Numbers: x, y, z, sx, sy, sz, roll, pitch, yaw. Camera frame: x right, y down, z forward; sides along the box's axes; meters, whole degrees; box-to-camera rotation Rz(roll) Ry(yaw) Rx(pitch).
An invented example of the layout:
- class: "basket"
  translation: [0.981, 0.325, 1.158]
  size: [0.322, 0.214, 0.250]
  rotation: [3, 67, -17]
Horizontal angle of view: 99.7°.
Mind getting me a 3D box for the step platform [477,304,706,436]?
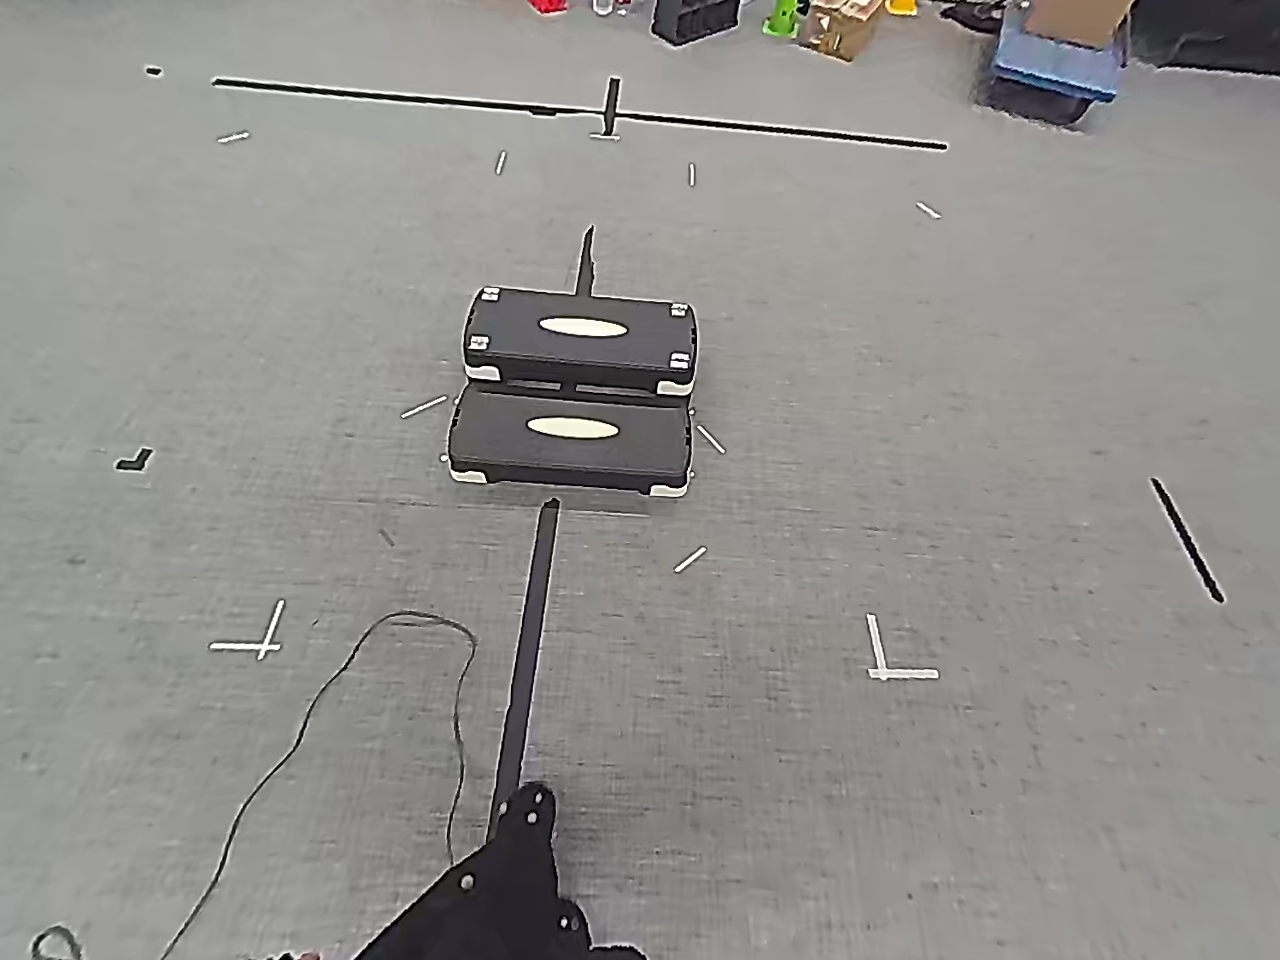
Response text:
- class: "step platform"
  translation: [-0.141, -0.340, 1.657]
  size: [0.684, 0.204, 0.286]
  rotation: [8, 58, 0]
